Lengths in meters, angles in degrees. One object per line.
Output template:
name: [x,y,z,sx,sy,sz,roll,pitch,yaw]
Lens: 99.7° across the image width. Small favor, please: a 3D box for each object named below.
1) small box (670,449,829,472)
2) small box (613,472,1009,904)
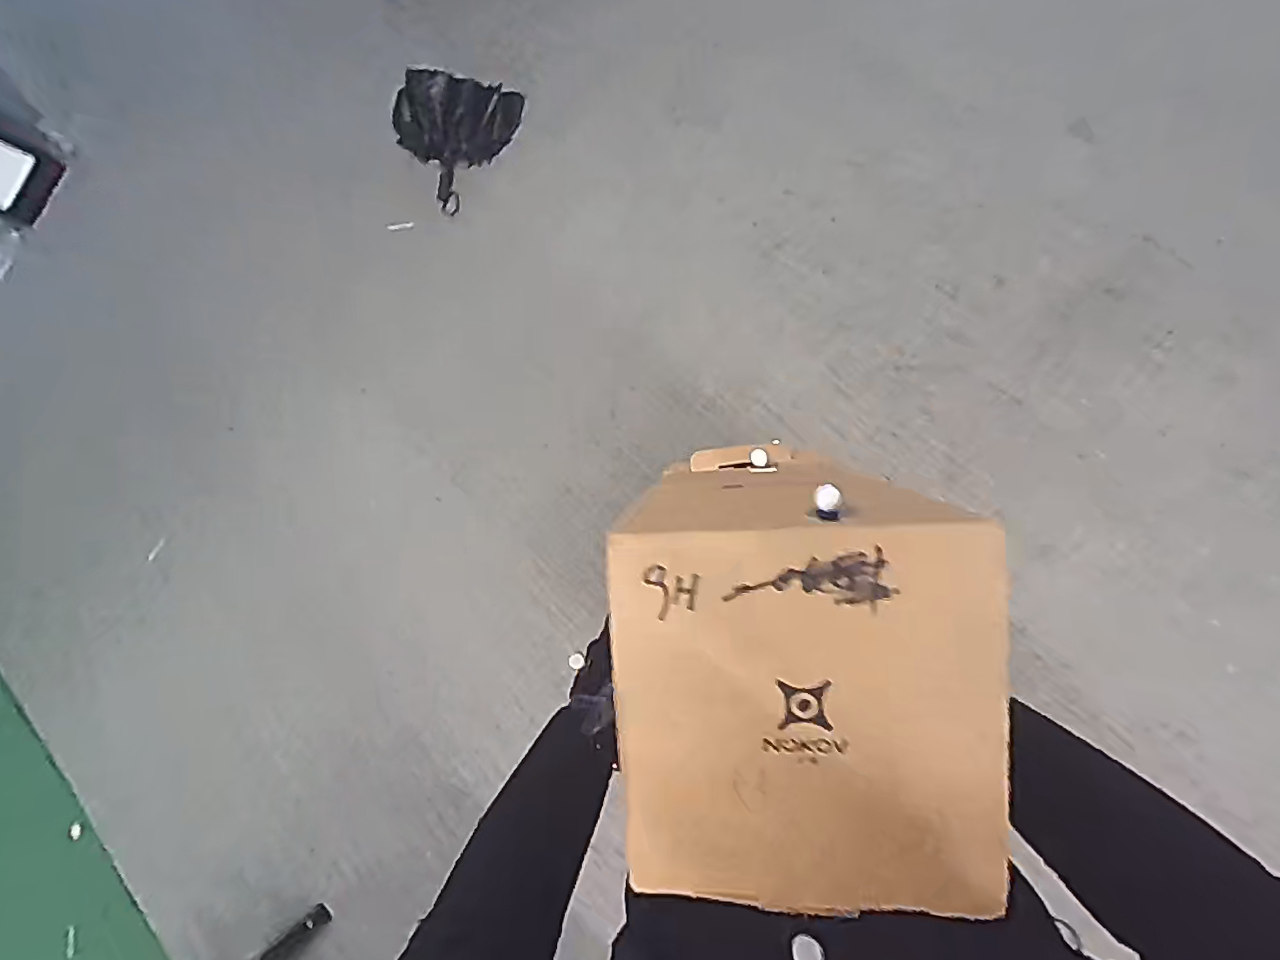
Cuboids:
small box: [0.129,0.056,0.640,0.168,0.176,0.179,-6,95,10]
small box: [0.083,0.094,0.320,0.168,0.176,0.179,-2,97,8]
